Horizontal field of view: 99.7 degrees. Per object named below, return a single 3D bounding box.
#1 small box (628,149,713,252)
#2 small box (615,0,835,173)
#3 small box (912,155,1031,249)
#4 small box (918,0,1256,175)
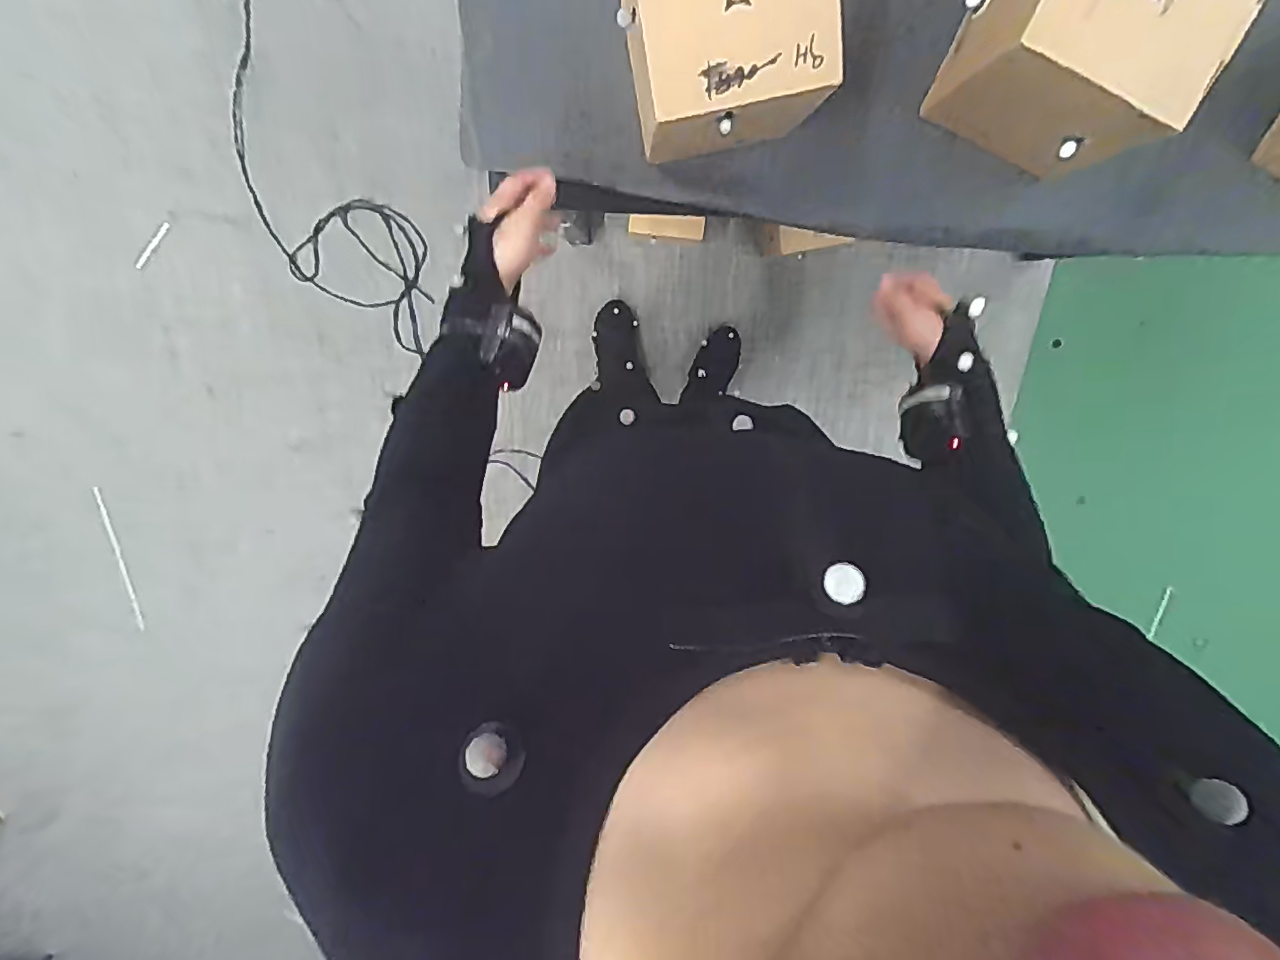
[{"bbox_3d":[0.063,-0.621,1.222,0.168,0.176,0.179,5,108,-2],"label":"small box"},{"bbox_3d":[0.070,-0.422,0.517,0.168,0.176,0.179,-11,109,2],"label":"small box"},{"bbox_3d":[0.743,-0.624,1.229,0.168,0.176,0.179,-4,109,0],"label":"small box"},{"bbox_3d":[0.419,-0.424,0.524,0.179,0.176,0.168,22,104,-7],"label":"small box"}]
